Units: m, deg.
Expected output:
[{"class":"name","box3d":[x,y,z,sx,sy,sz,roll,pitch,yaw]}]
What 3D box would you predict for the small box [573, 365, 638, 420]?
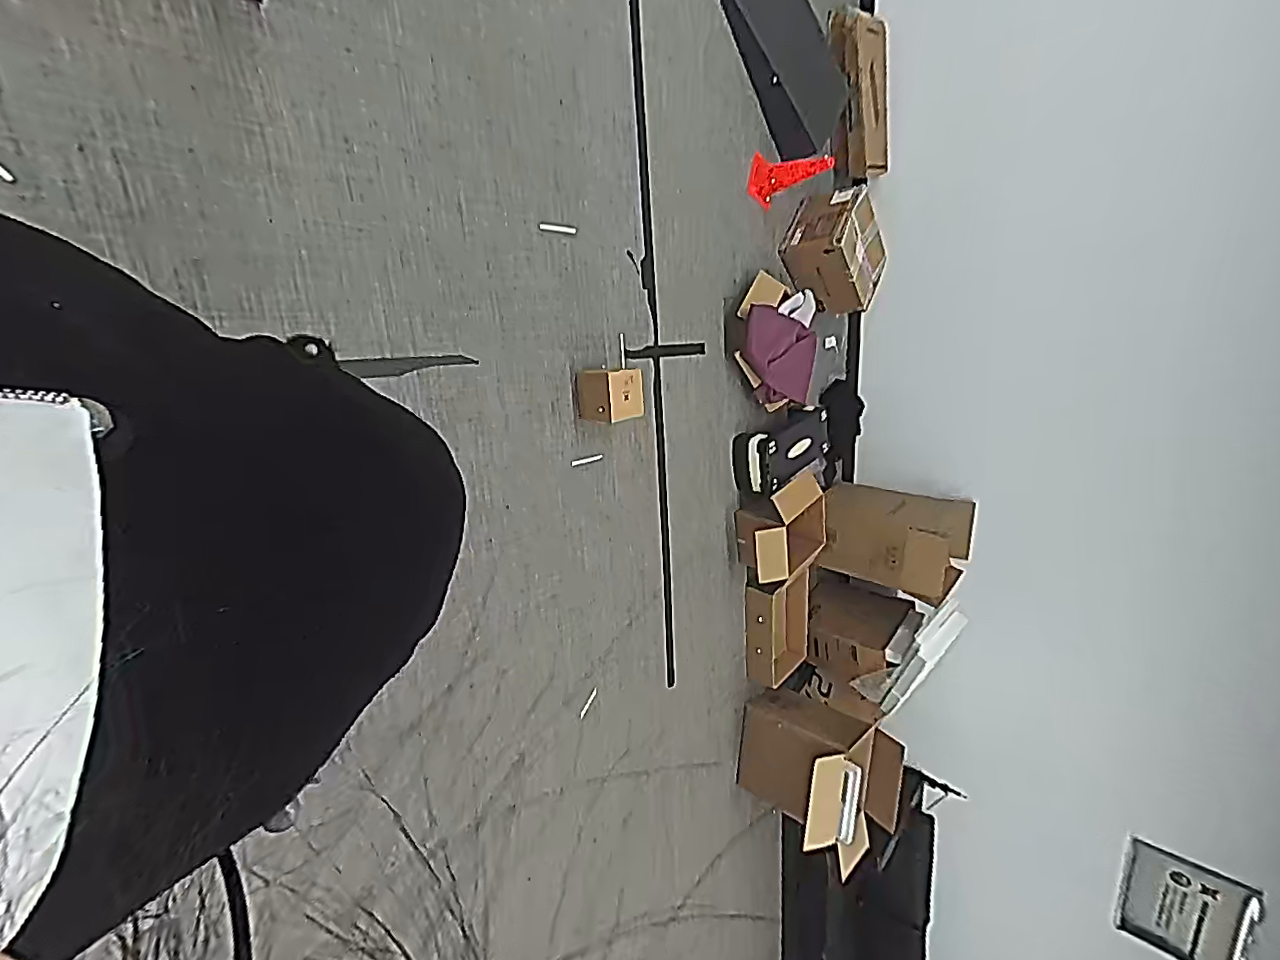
[{"class":"small box","box3d":[-0.127,-0.321,1.961,0.168,0.176,0.179,-20,113,-44]}]
